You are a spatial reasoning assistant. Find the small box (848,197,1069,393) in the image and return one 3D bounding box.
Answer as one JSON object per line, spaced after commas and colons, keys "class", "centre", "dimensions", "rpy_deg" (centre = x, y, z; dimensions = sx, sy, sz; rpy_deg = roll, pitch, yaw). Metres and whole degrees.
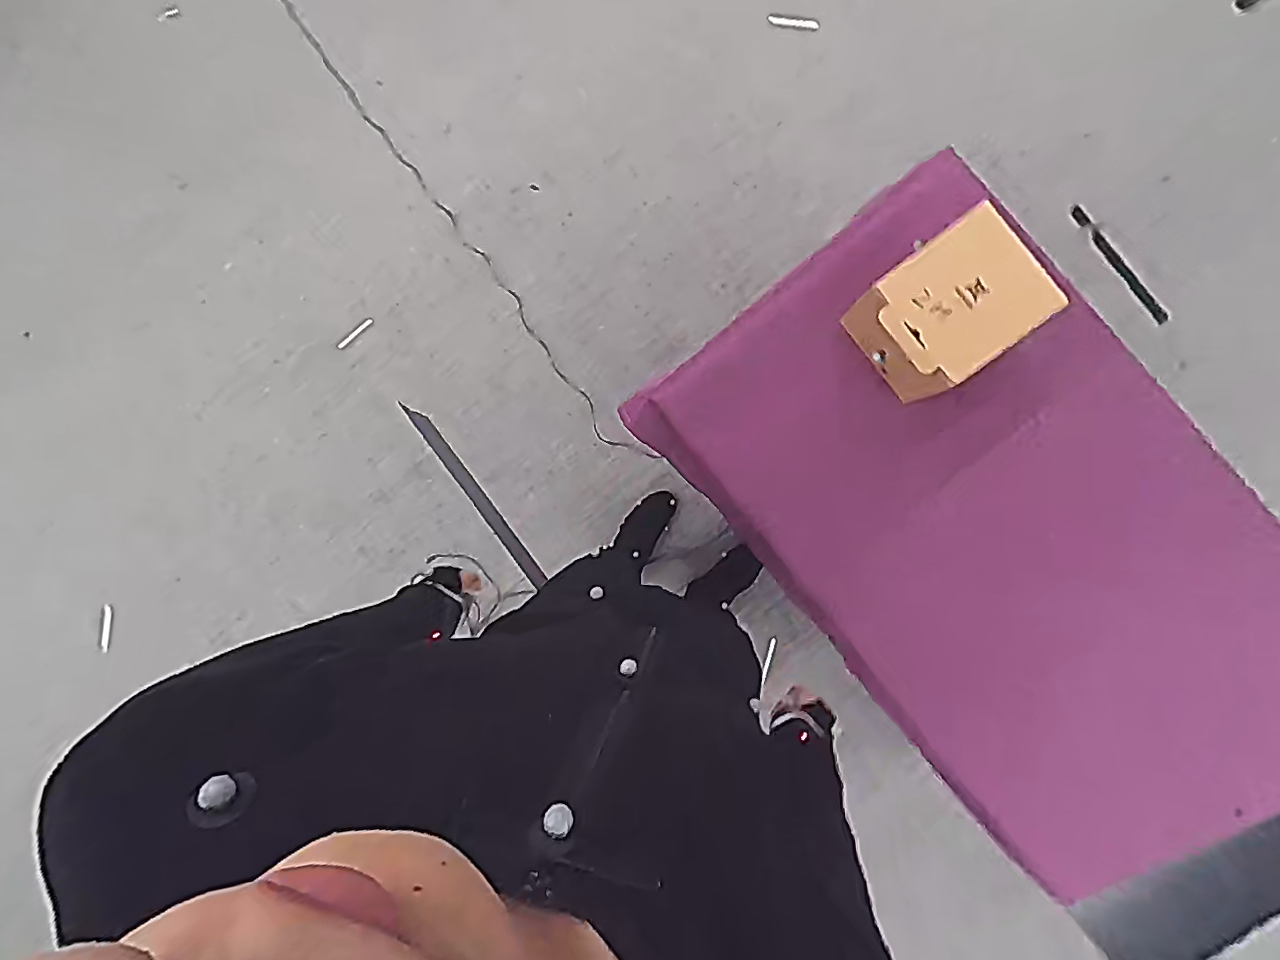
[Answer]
{"class": "small box", "centre": [0.428, -0.244, 0.762], "dimensions": [0.179, 0.176, 0.168], "rpy_deg": [-37, 87, 6]}
